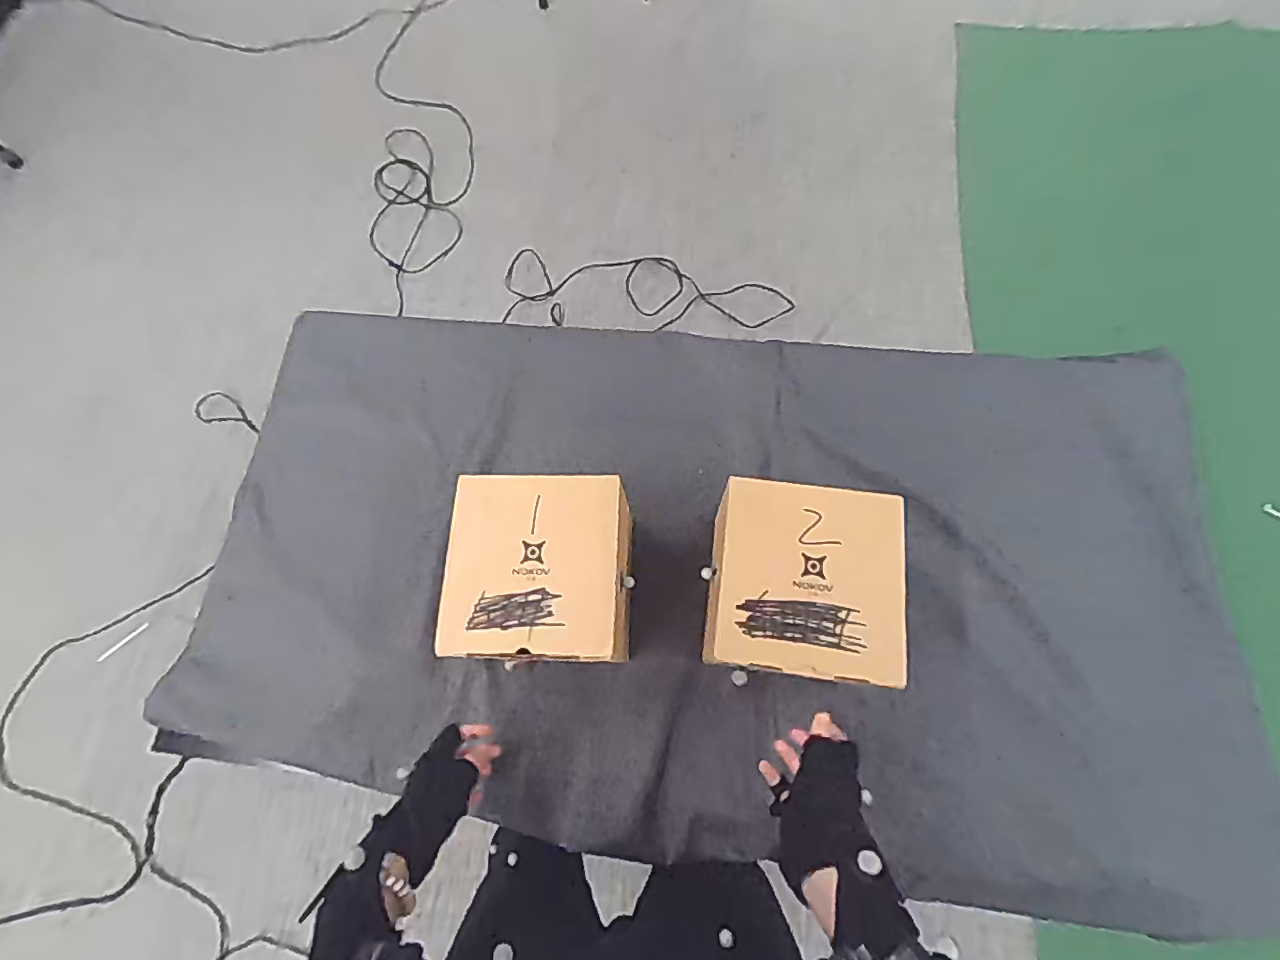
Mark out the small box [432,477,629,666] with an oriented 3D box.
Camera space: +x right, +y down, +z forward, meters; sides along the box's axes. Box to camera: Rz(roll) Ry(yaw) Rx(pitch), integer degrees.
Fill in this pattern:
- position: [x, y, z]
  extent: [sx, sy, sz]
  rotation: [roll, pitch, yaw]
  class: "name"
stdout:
- position: [-0.100, 0.106, 0.586]
  extent: [0.168, 0.176, 0.179]
  rotation: [1, 70, 3]
  class: "small box"
